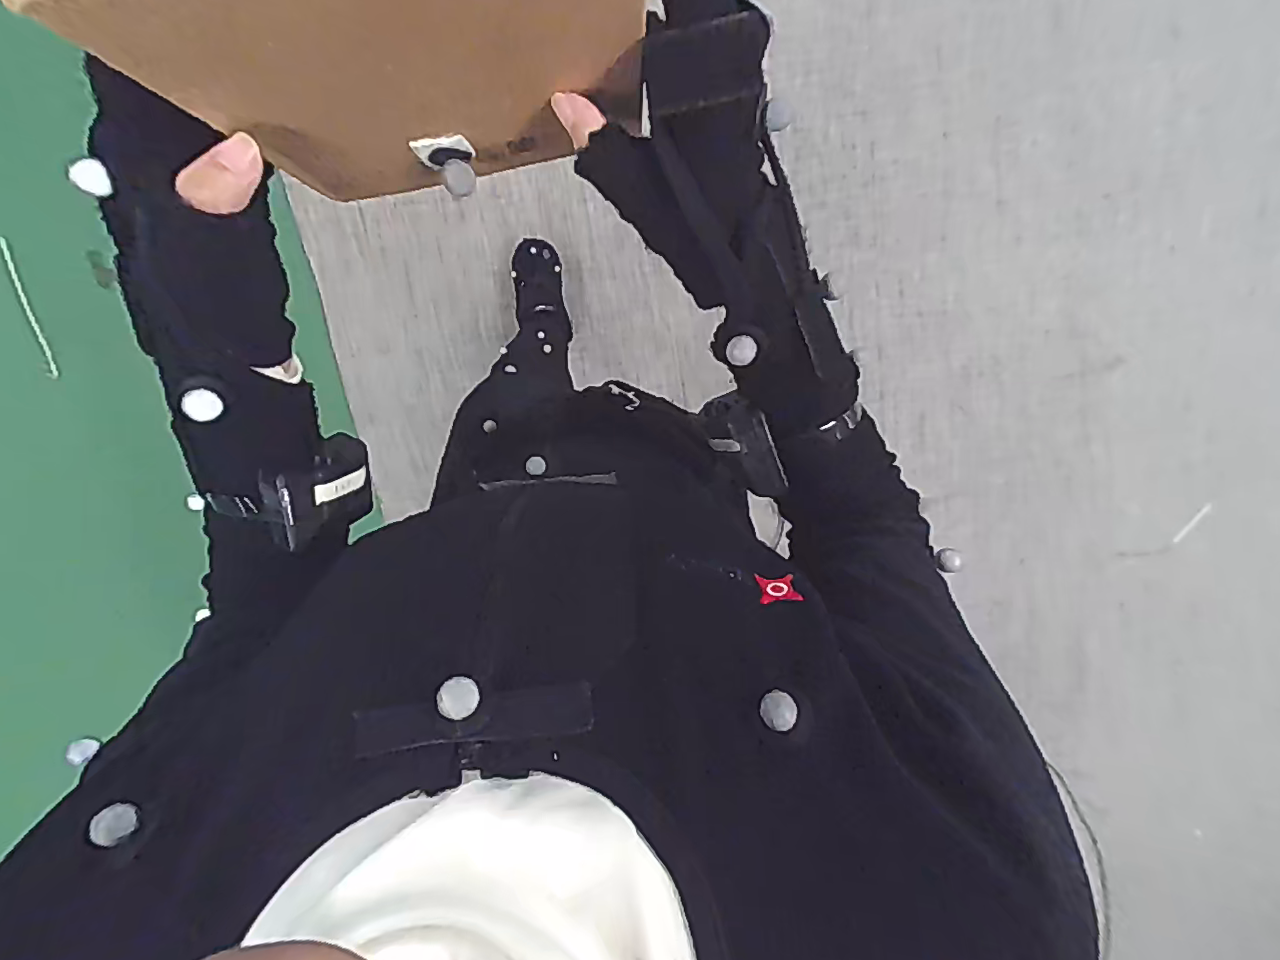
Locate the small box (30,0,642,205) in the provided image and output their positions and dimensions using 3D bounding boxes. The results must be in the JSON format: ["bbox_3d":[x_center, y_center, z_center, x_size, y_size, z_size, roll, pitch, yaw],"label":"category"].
[{"bbox_3d":[-0.097,-0.233,0.199,0.168,0.176,0.179,-13,101,3],"label":"small box"}]
